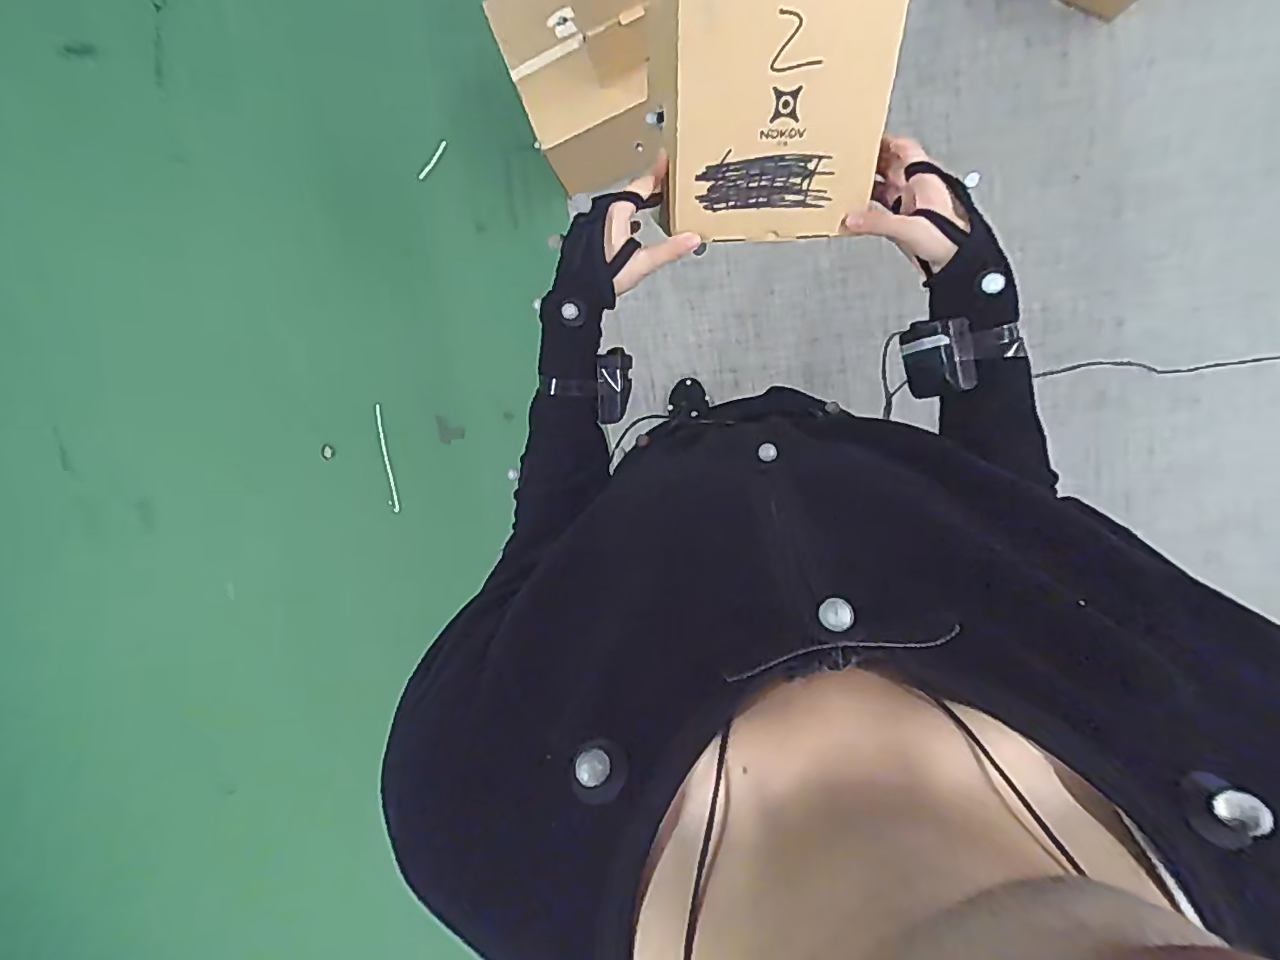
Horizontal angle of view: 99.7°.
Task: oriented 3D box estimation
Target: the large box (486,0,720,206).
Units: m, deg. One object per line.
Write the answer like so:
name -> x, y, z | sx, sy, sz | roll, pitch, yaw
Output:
large box -> -0.061, -0.909, 1.236 | 0.408, 0.320, 0.320 | -22, 94, 9

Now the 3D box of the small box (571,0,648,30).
small box -> -0.051, -0.859, 0.829 | 0.179, 0.176, 0.168 | -23, 96, 8

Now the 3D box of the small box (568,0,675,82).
small box -> -0.039, -0.878, 0.991 | 0.168, 0.176, 0.179 | -21, 96, 7
